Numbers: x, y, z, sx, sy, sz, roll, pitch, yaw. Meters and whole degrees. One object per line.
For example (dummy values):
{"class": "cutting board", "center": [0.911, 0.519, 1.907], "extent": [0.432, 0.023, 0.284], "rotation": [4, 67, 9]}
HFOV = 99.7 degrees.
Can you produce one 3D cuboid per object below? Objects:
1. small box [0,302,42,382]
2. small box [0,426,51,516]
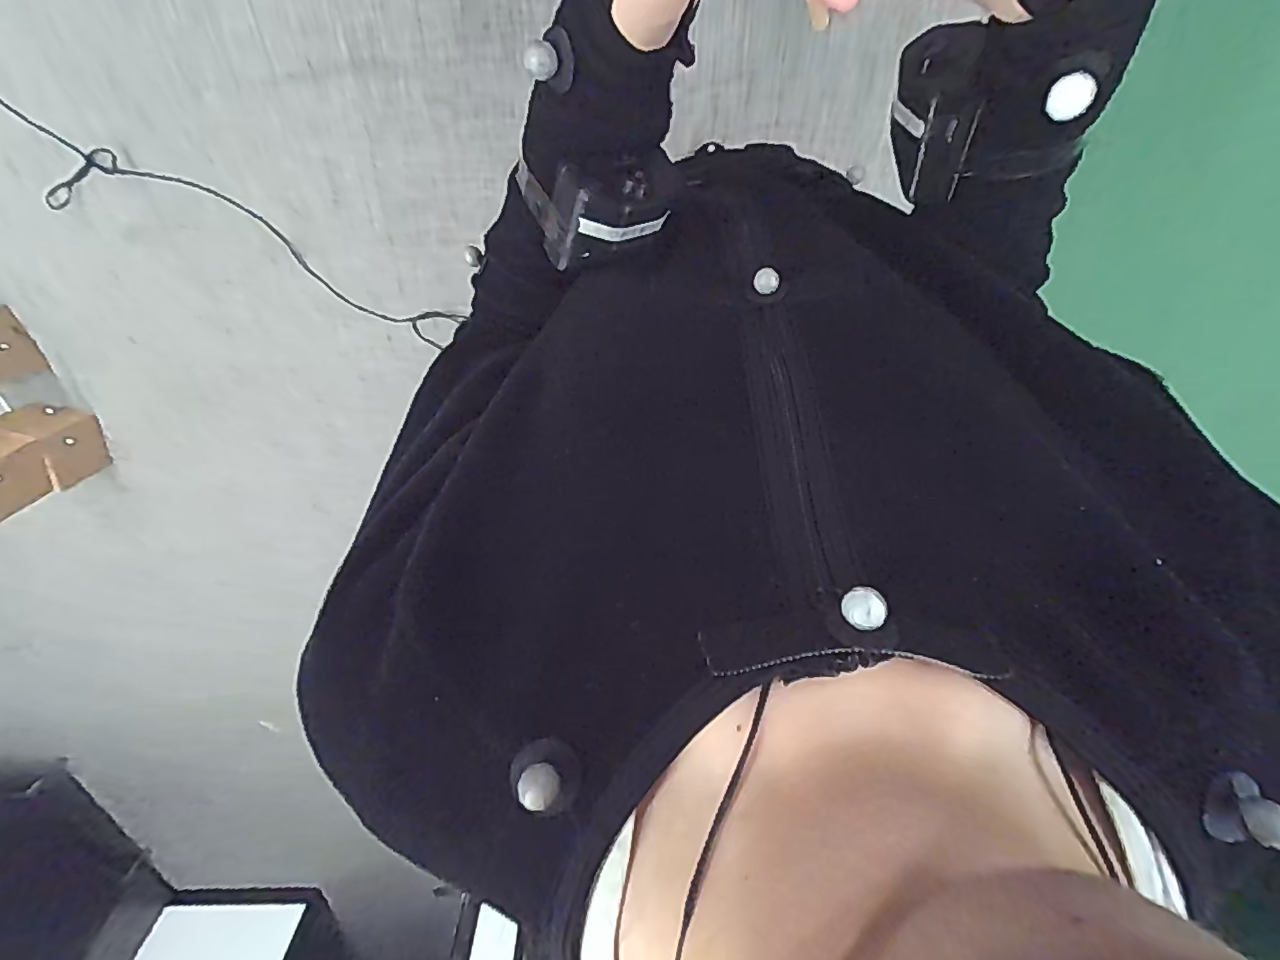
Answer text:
{"class": "small box", "center": [-1.676, -0.337, 1.348], "extent": [0.179, 0.176, 0.168], "rotation": [-6, 121, 3]}
{"class": "small box", "center": [-1.649, -0.024, 1.353], "extent": [0.168, 0.176, 0.179], "rotation": [15, 119, -9]}
